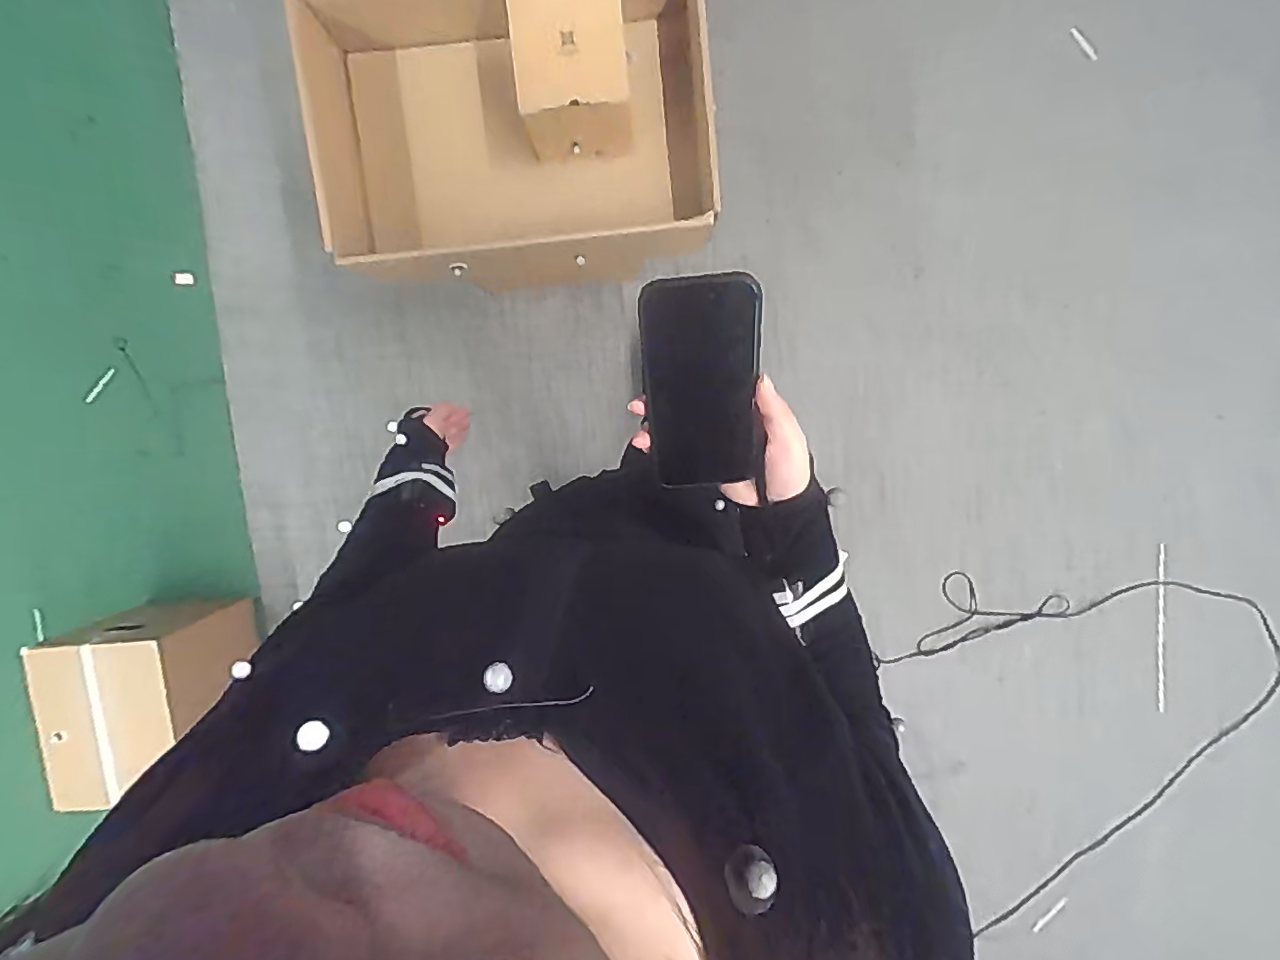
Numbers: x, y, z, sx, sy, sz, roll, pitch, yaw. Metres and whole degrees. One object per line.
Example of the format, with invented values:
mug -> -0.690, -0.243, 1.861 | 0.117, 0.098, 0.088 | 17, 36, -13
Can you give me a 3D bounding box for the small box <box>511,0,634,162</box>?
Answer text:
small box -> -0.098, -0.637, 0.852 | 0.168, 0.176, 0.179 | -5, 98, 2
